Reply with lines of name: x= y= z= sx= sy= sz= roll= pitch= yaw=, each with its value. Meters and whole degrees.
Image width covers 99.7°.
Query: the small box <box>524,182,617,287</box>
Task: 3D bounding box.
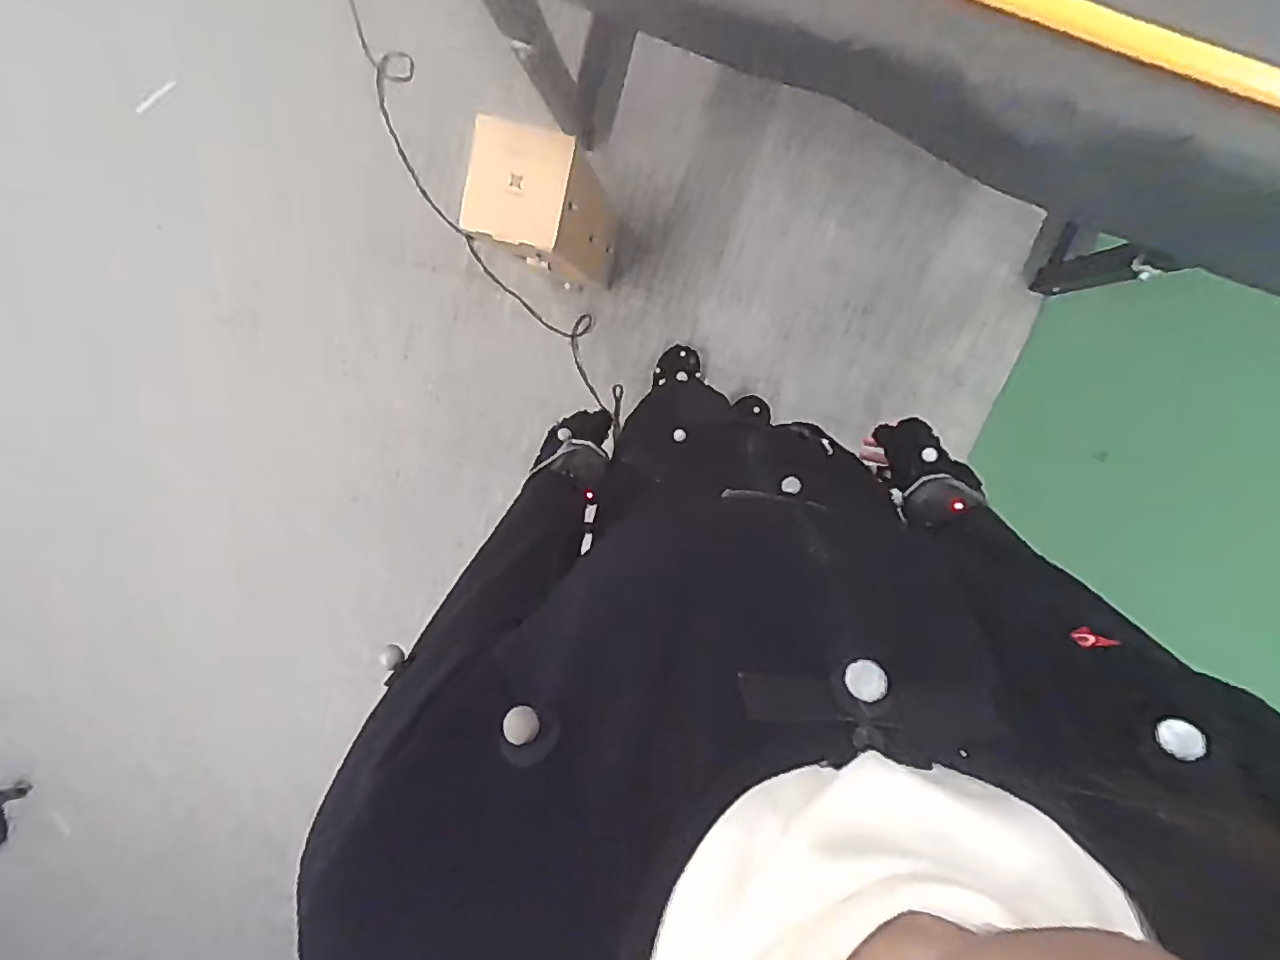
small box: x=-0.155 y=-0.561 z=1.257 sx=0.168 sy=0.176 sz=0.179 roll=12 pitch=104 yaw=4
